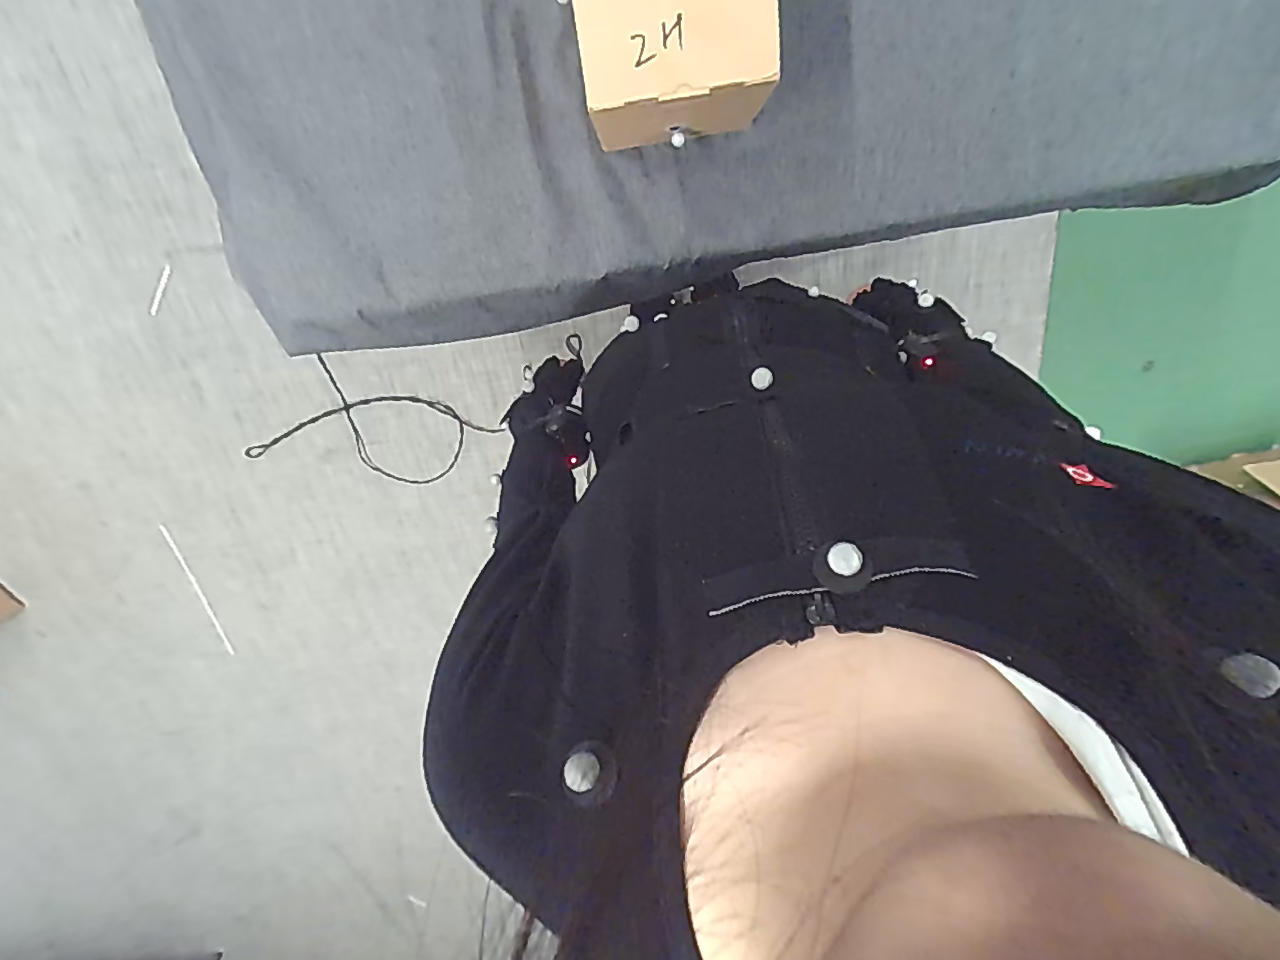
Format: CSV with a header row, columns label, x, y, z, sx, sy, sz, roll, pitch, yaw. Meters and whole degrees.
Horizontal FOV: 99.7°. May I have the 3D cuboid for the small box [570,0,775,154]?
label,x,y,z,sx,sy,sz,roll,pitch,yaw
small box,0.023,-0.430,0.505,0.168,0.176,0.179,-7,111,4
